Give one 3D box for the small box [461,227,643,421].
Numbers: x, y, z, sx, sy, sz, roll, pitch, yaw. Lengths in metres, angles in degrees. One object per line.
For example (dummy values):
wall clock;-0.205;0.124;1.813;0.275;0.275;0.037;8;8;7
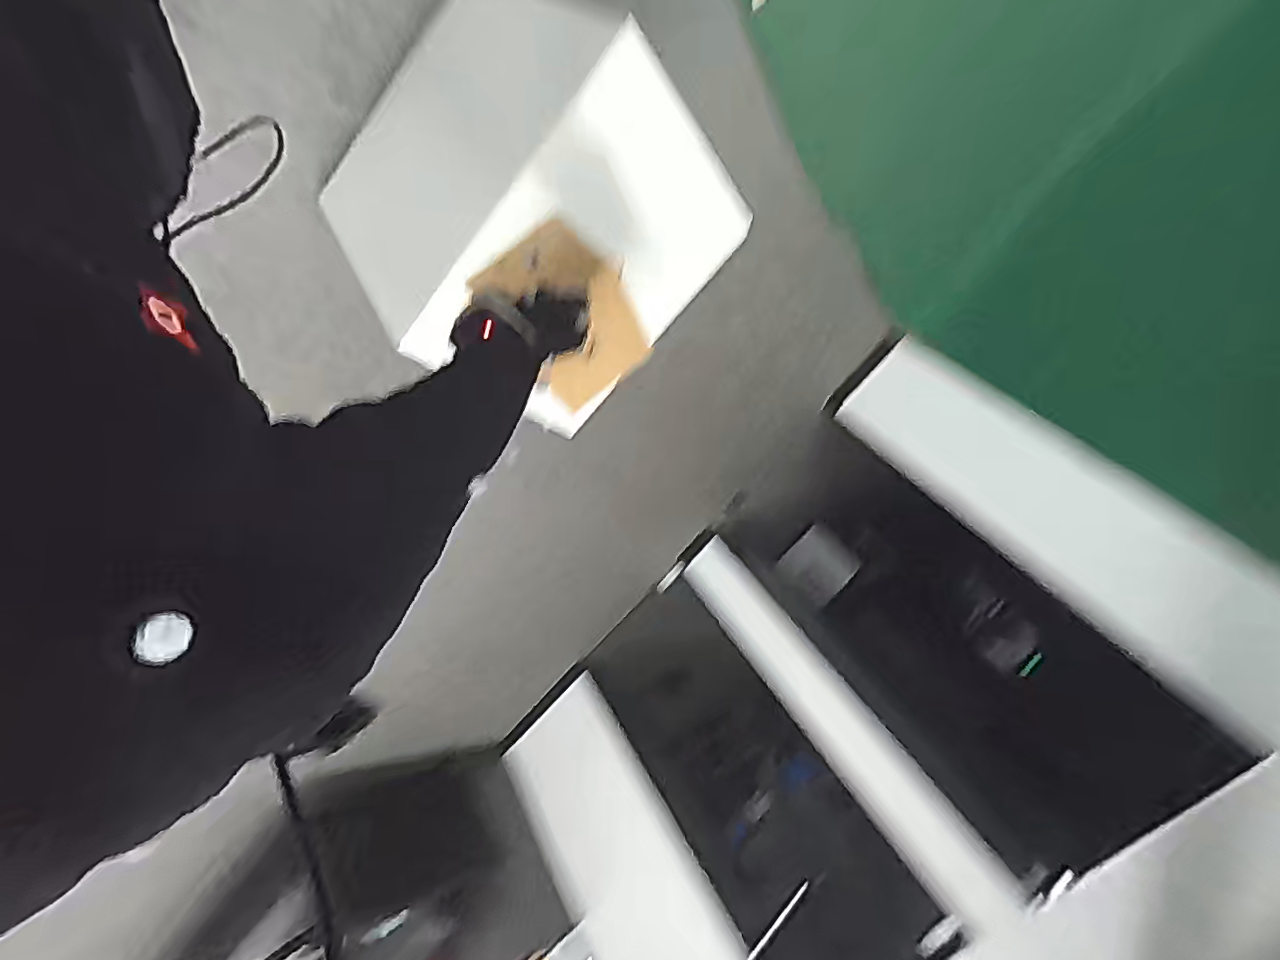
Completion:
small box;-0.126;-0.227;0.792;0.168;0.176;0.179;-38;148;-1
